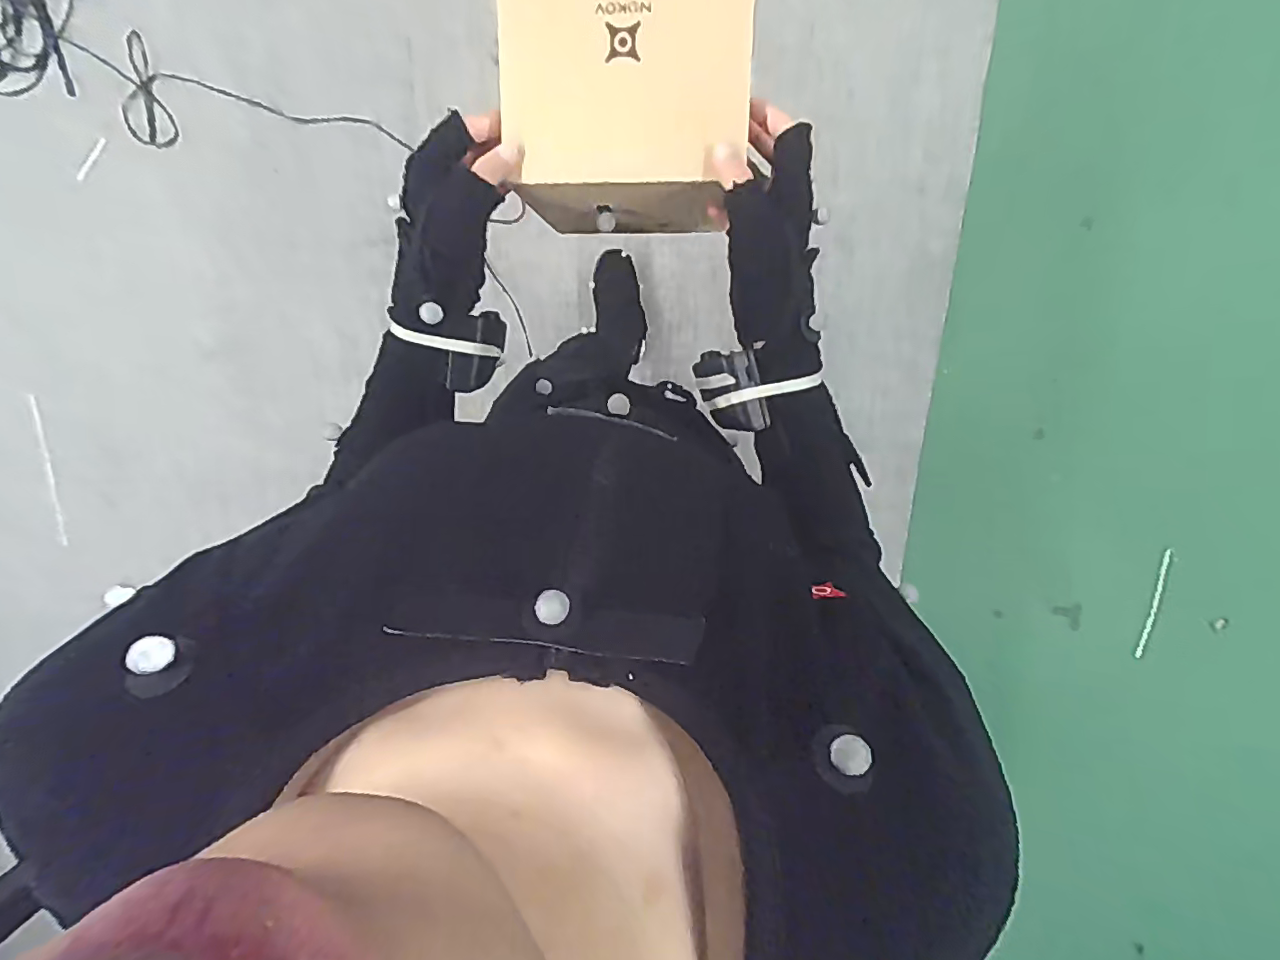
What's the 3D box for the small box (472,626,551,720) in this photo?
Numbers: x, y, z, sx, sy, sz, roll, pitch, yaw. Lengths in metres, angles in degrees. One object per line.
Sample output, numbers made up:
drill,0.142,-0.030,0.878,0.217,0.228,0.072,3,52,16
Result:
small box,-0.336,0.505,1.433,0.168,0.176,0.179,2,102,4
